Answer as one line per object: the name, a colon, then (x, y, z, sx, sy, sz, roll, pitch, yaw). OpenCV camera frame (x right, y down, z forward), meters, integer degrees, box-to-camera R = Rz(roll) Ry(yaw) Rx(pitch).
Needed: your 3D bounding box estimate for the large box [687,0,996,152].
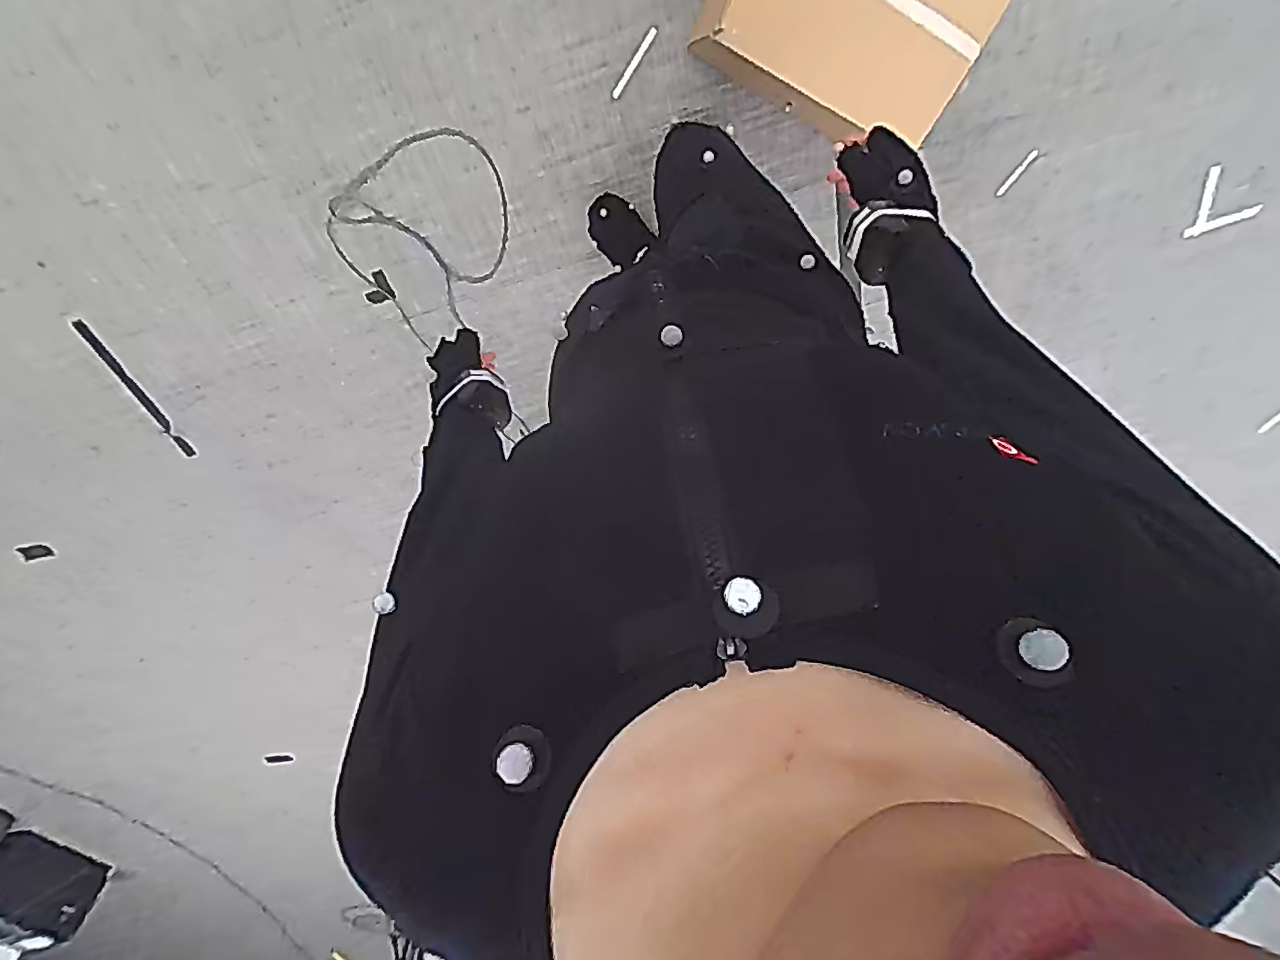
large box: (0.341, -0.838, 0.953, 0.408, 0.320, 0.320, 18, 121, -16)
